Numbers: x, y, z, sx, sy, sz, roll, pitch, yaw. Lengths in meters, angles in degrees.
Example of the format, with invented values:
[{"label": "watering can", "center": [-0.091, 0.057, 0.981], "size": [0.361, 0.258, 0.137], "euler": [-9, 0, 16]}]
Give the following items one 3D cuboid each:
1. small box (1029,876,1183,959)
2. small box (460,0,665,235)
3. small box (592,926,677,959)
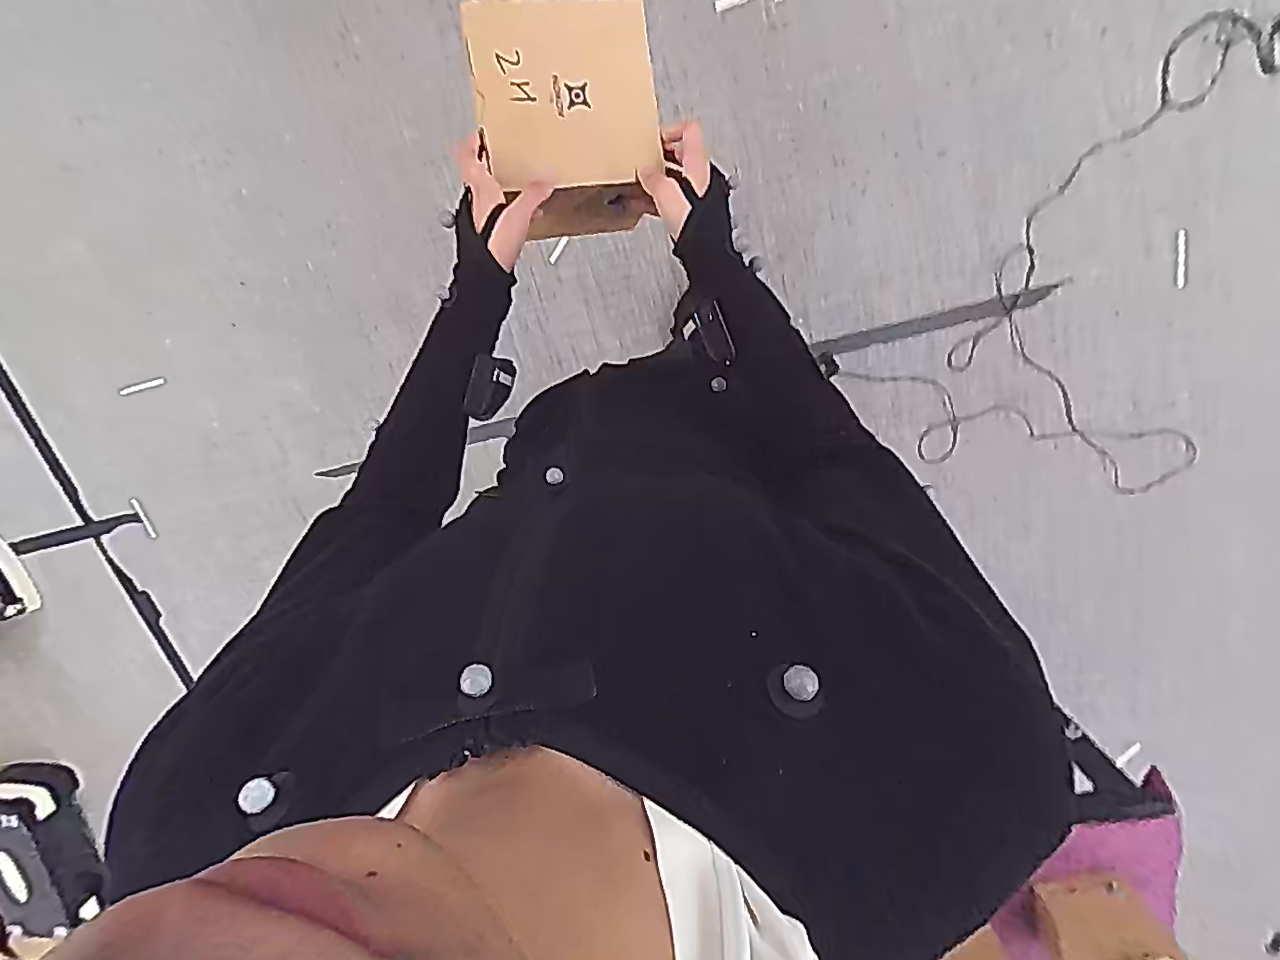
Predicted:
[{"label": "small box", "center": [0.875, 0.891, 1.026], "size": [0.168, 0.176, 0.179], "euler": [-15, 108, 8]}, {"label": "small box", "center": [-0.086, -0.381, 0.590], "size": [0.179, 0.176, 0.168], "euler": [-11, 100, -11]}, {"label": "small box", "center": [-0.005, 1.083, 1.135], "size": [0.179, 0.176, 0.168], "euler": [-12, 106, 5]}]
